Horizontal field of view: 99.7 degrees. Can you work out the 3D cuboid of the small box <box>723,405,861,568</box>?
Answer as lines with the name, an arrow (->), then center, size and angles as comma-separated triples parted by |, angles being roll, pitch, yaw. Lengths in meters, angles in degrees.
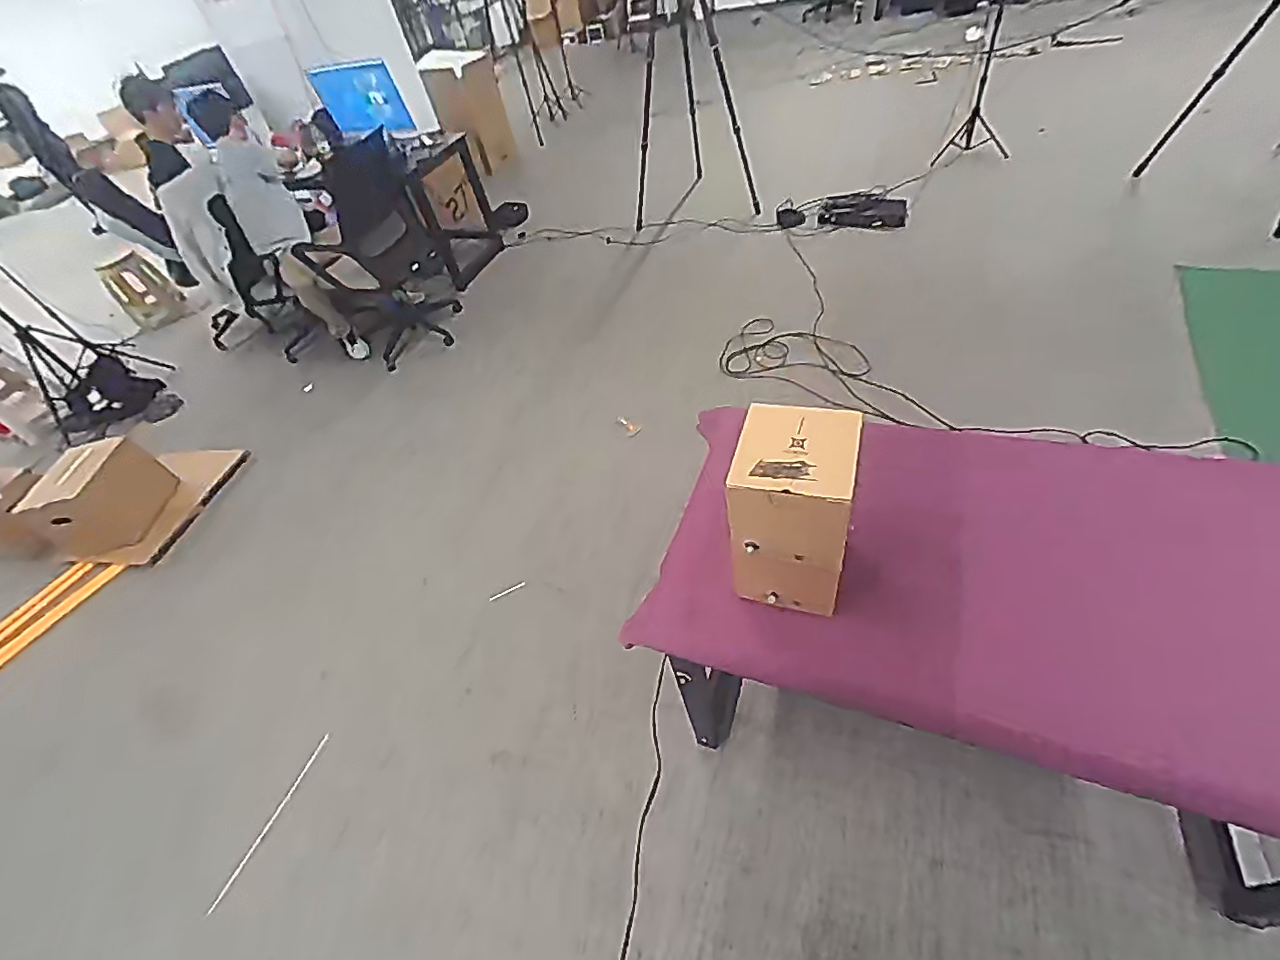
small box -> 0.233, 0.010, 0.816 | 0.168, 0.176, 0.179 | 8, 50, 21

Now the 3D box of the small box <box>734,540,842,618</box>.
small box -> 0.266, 0.111, 0.941 | 0.168, 0.176, 0.179 | 8, 52, 21
